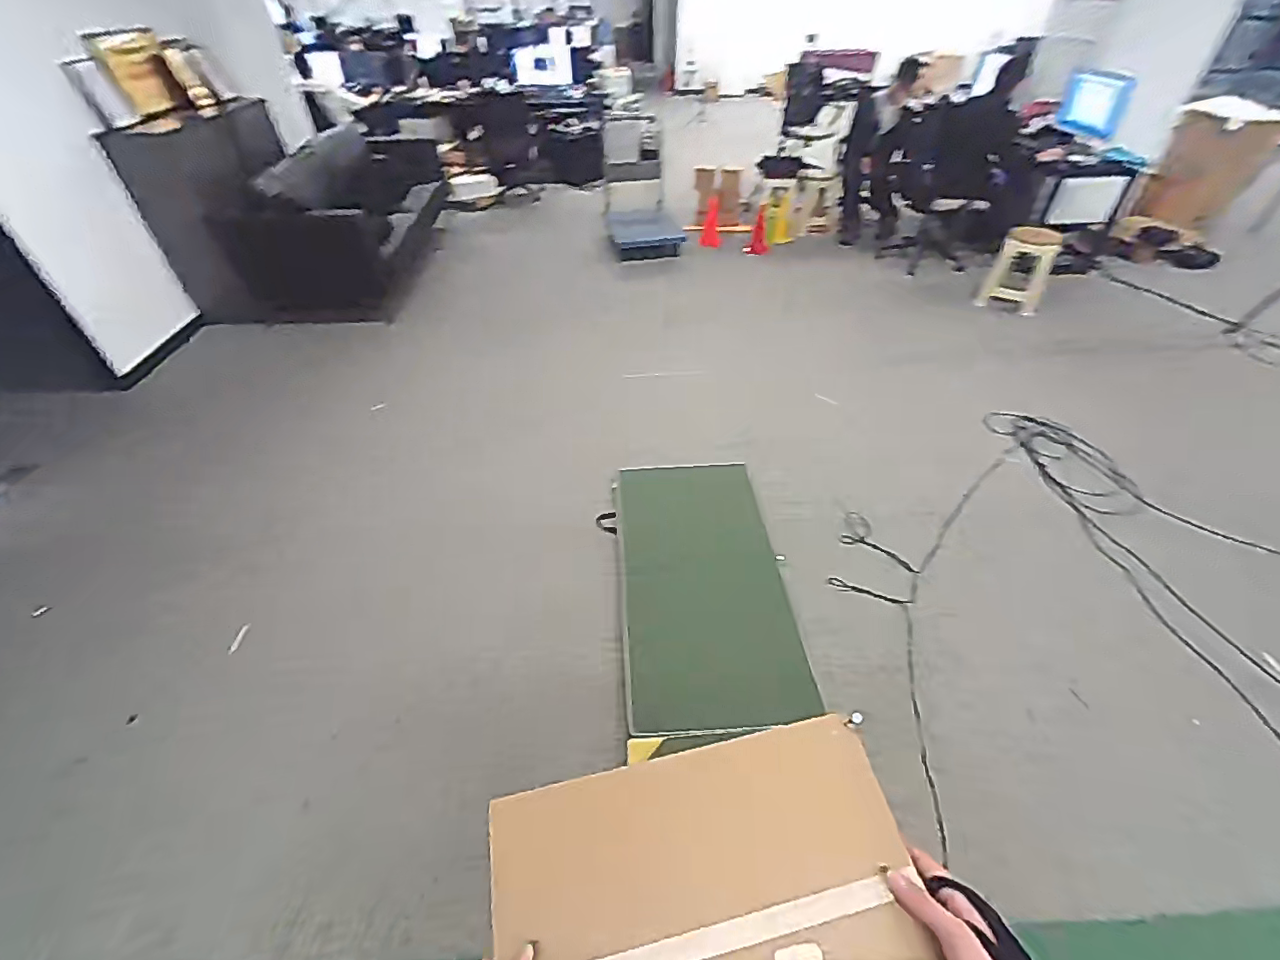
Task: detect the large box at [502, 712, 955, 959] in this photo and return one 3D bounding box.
[{"bbox_3d":[0.081,0.516,0.624,0.408,0.320,0.320,-11,53,-7],"label":"large box"}]
